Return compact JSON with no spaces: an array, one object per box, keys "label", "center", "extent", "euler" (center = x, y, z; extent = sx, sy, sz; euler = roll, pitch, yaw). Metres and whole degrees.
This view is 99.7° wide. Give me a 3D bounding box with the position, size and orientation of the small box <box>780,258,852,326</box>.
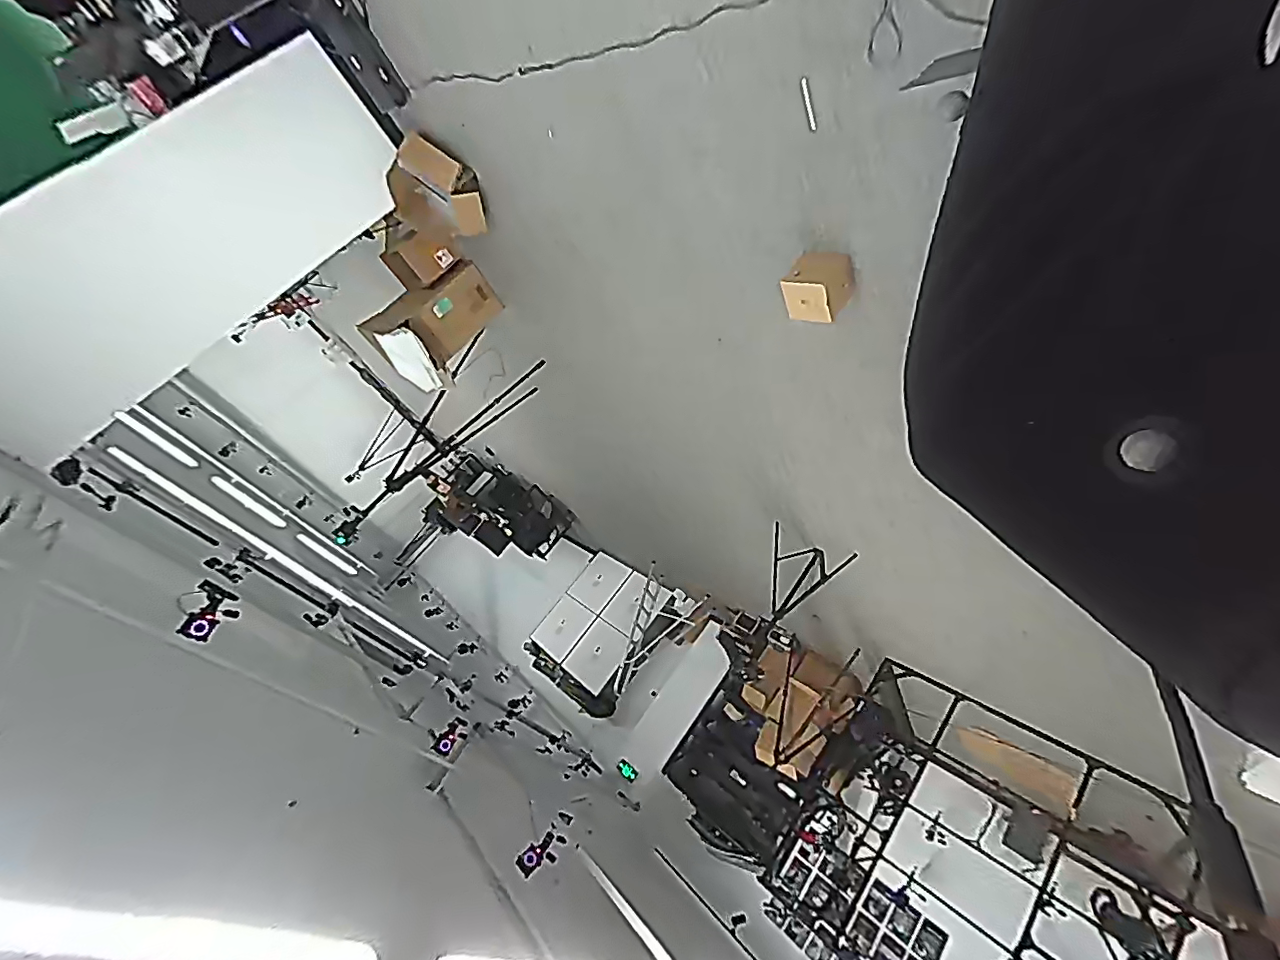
[{"label":"small box","center":[0.635,-0.681,1.948],"extent":[0.179,0.176,0.168],"euler":[23,156,41]}]
